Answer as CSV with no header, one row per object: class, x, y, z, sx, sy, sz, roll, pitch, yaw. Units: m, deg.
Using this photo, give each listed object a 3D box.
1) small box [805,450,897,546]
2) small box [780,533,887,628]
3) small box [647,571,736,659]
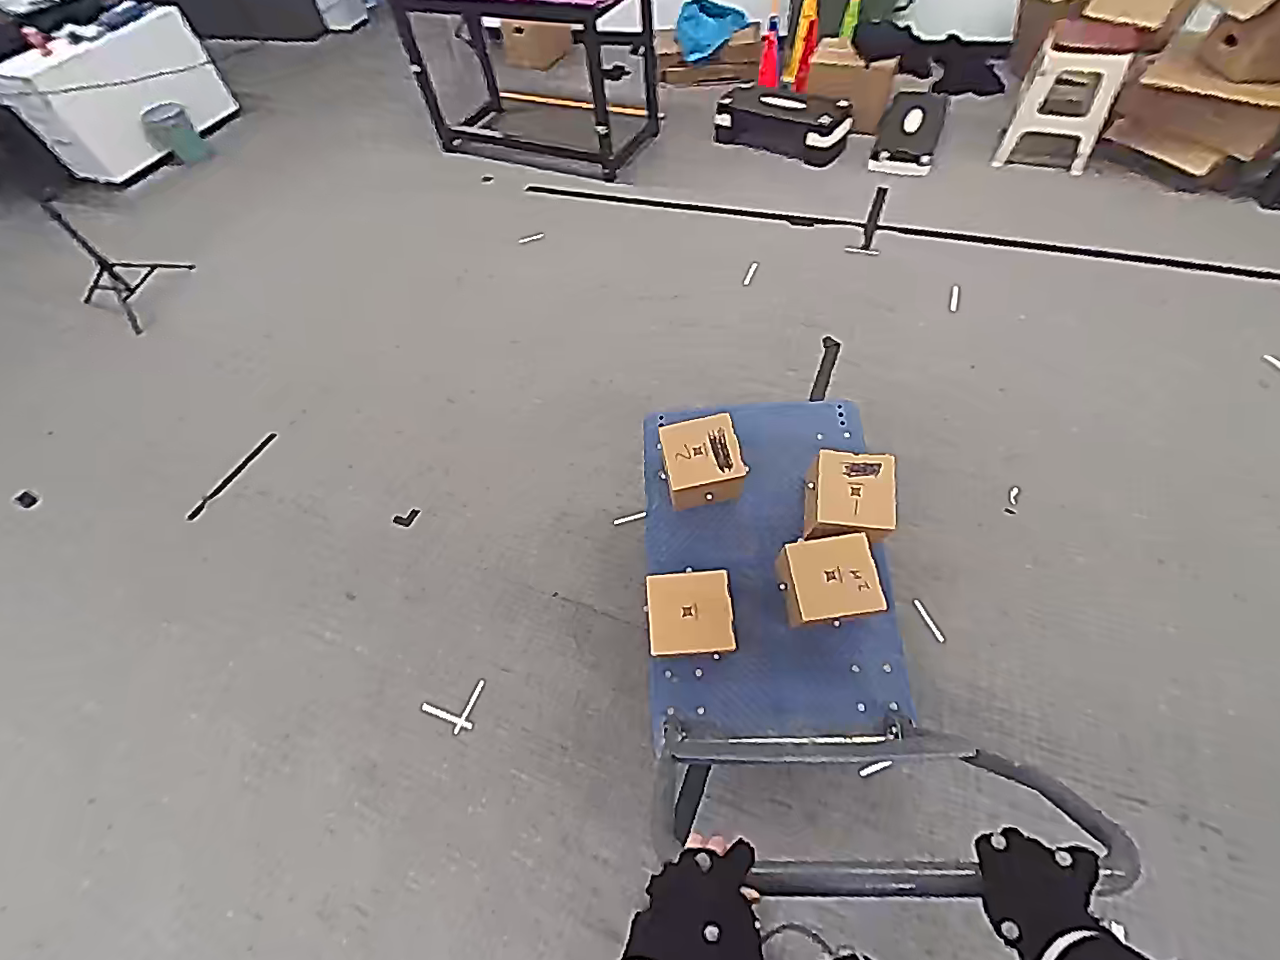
small box,0.485,0.046,1.261,0.168,0.176,0.179,5,71,8
small box,0.416,0.228,1.201,0.179,0.176,0.168,-9,69,3
small box,0.113,0.306,1.206,0.179,0.176,0.168,-5,69,2
